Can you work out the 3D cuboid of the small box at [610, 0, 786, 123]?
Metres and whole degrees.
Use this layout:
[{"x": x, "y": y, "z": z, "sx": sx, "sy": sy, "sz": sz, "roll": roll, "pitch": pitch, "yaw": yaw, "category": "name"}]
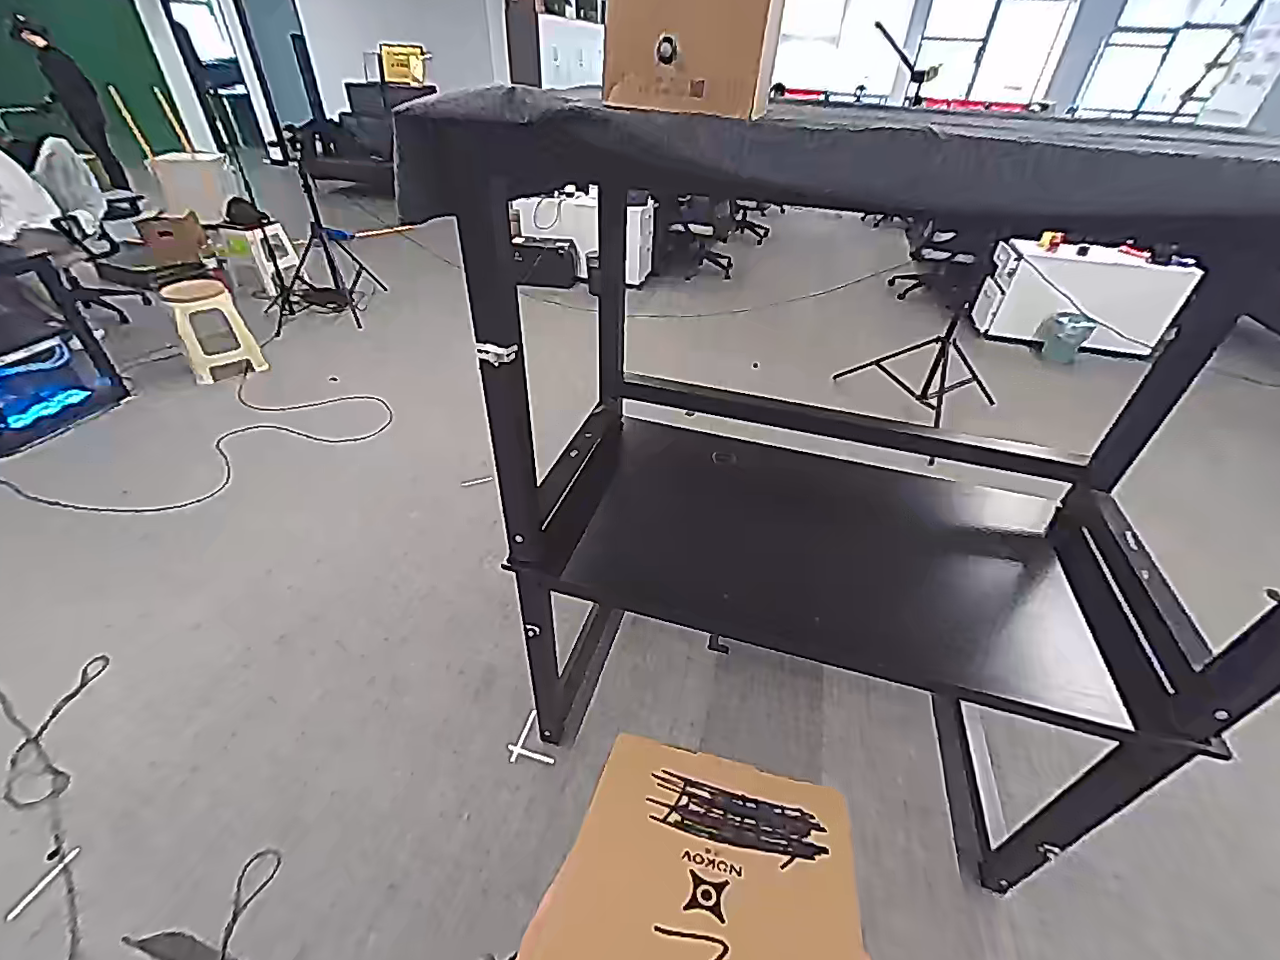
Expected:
[{"x": 0.067, "y": -0.504, "z": 0.594, "sx": 0.168, "sy": 0.176, "sz": 0.179, "roll": 12, "pitch": 38, "yaw": 10, "category": "small box"}]
